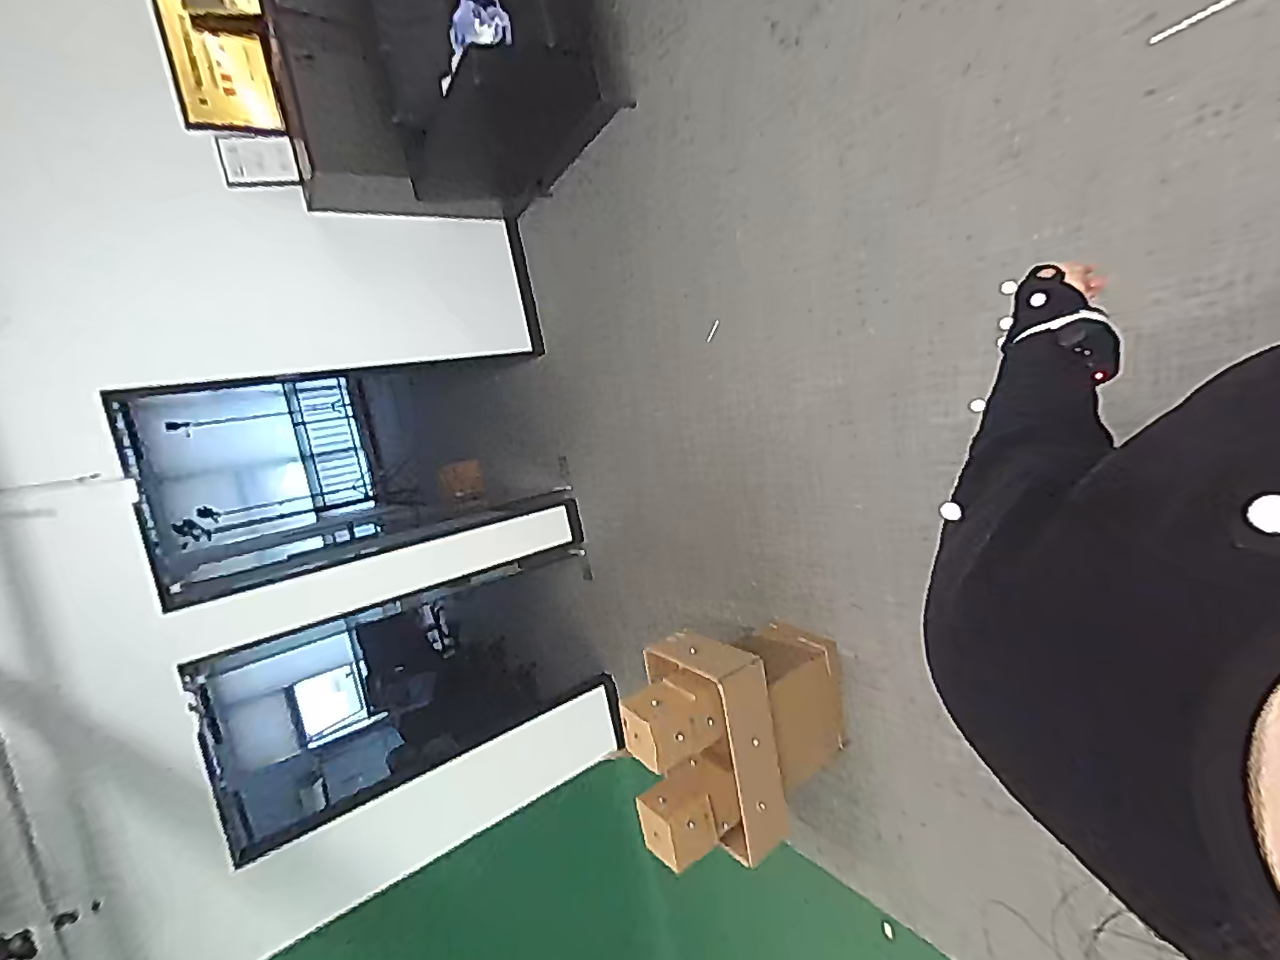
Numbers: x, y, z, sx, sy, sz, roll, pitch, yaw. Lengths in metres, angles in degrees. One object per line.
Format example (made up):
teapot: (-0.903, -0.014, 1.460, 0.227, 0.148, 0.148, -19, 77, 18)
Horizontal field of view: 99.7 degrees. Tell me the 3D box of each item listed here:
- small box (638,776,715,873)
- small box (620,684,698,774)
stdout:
small box: (0.121, 1.075, 1.708, 0.179, 0.176, 0.168, -6, 96, 57)
small box: (0.065, 0.757, 1.668, 0.179, 0.176, 0.168, 4, 105, 55)
